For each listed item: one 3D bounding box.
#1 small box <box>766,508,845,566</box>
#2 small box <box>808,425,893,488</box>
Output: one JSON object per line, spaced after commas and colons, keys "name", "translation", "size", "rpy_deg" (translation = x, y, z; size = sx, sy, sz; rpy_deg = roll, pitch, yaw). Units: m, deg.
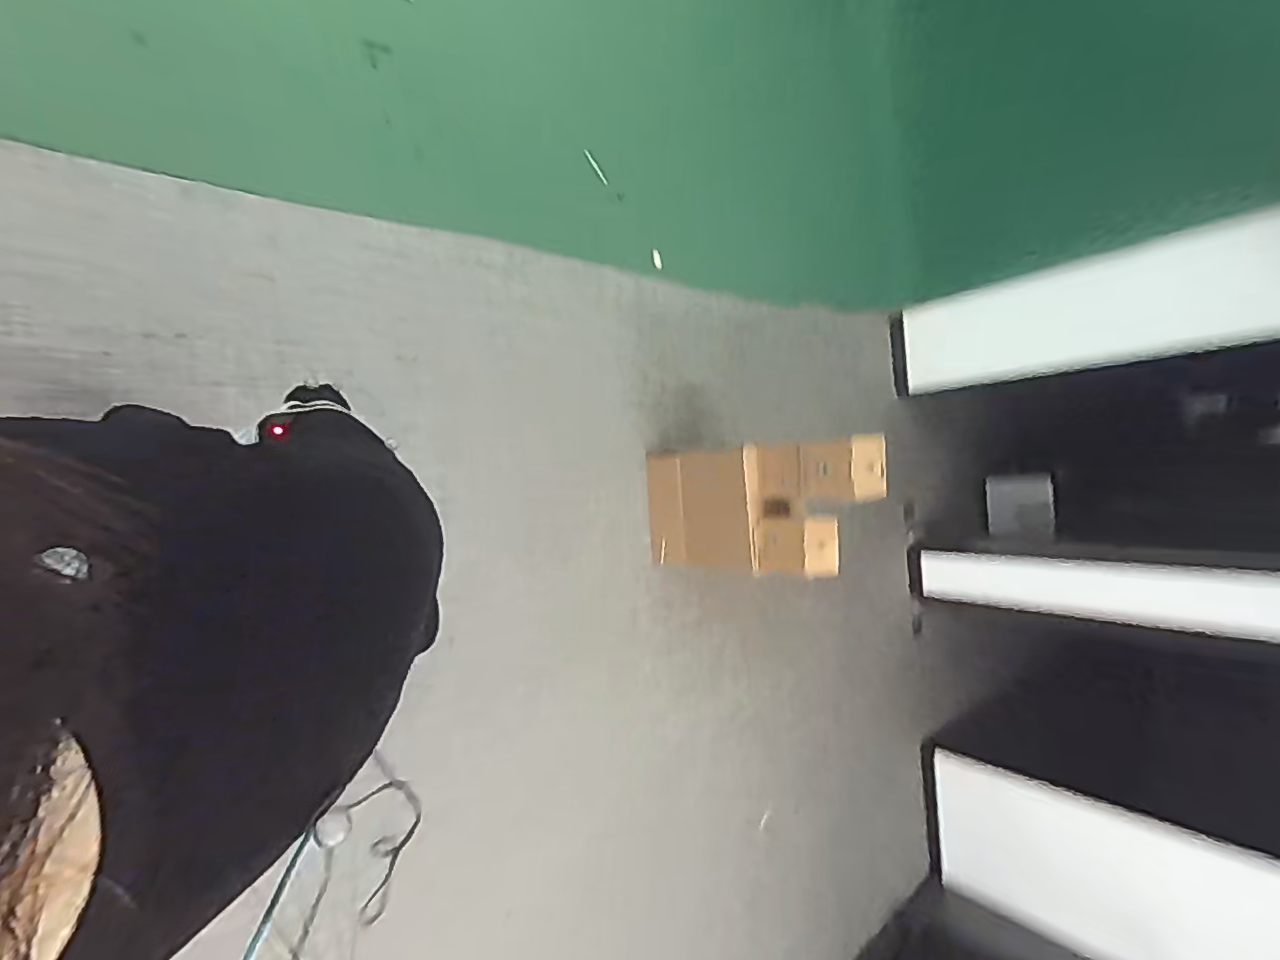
{"name": "small box", "translation": [0.509, 0.171, 1.668], "size": [0.179, 0.176, 0.168], "rpy_deg": [2, 86, -38]}
{"name": "small box", "translation": [0.592, -0.065, 1.535], "size": [0.179, 0.176, 0.168], "rpy_deg": [-7, 95, -37]}
